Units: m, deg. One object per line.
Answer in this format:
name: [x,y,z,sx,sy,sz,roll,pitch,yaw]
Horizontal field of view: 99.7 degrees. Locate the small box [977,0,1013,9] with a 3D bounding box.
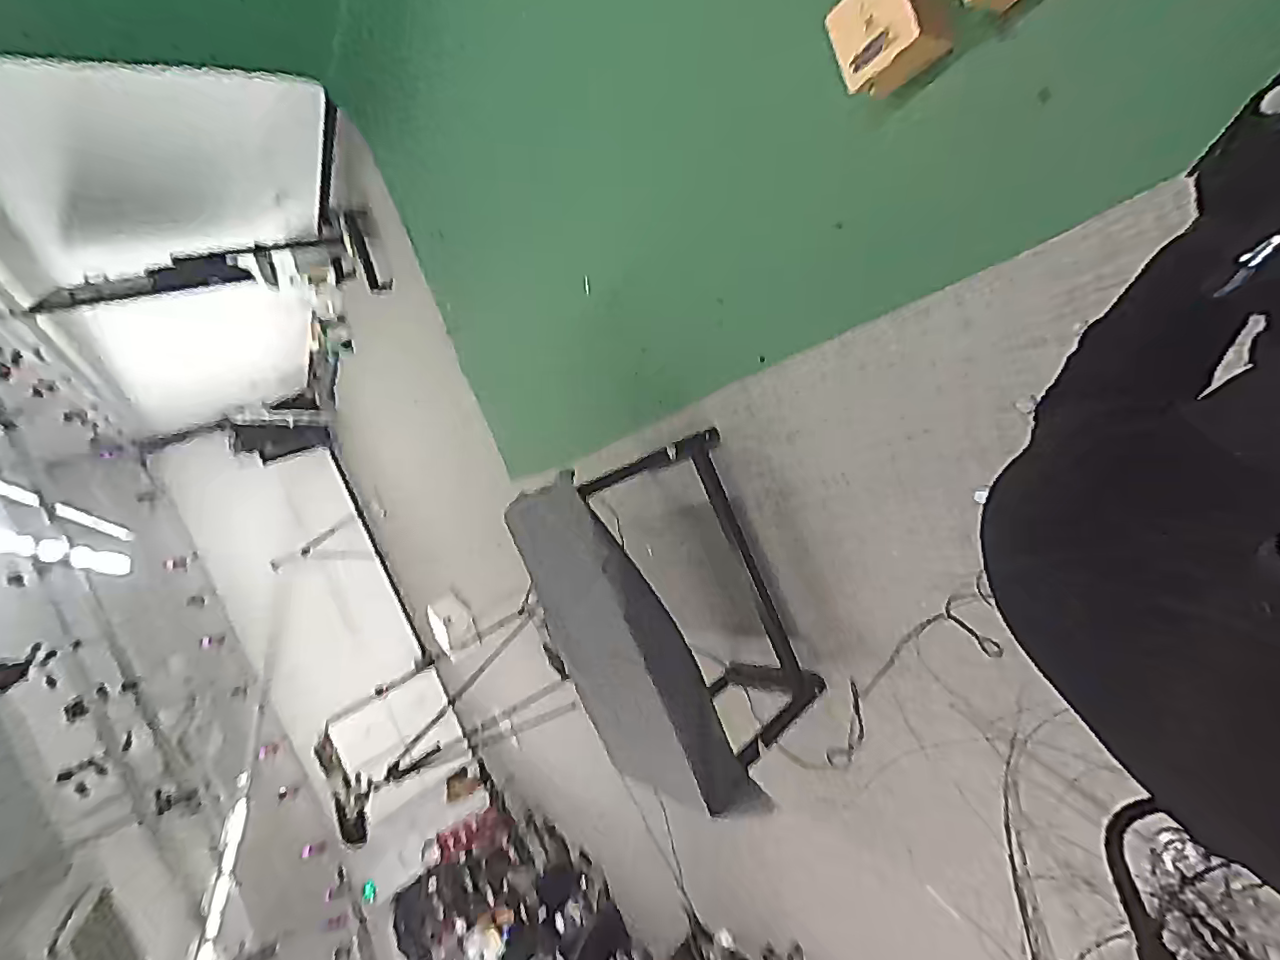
small box: [0.682,-1.023,0.994,0.168,0.176,0.179,-18,97,55]
